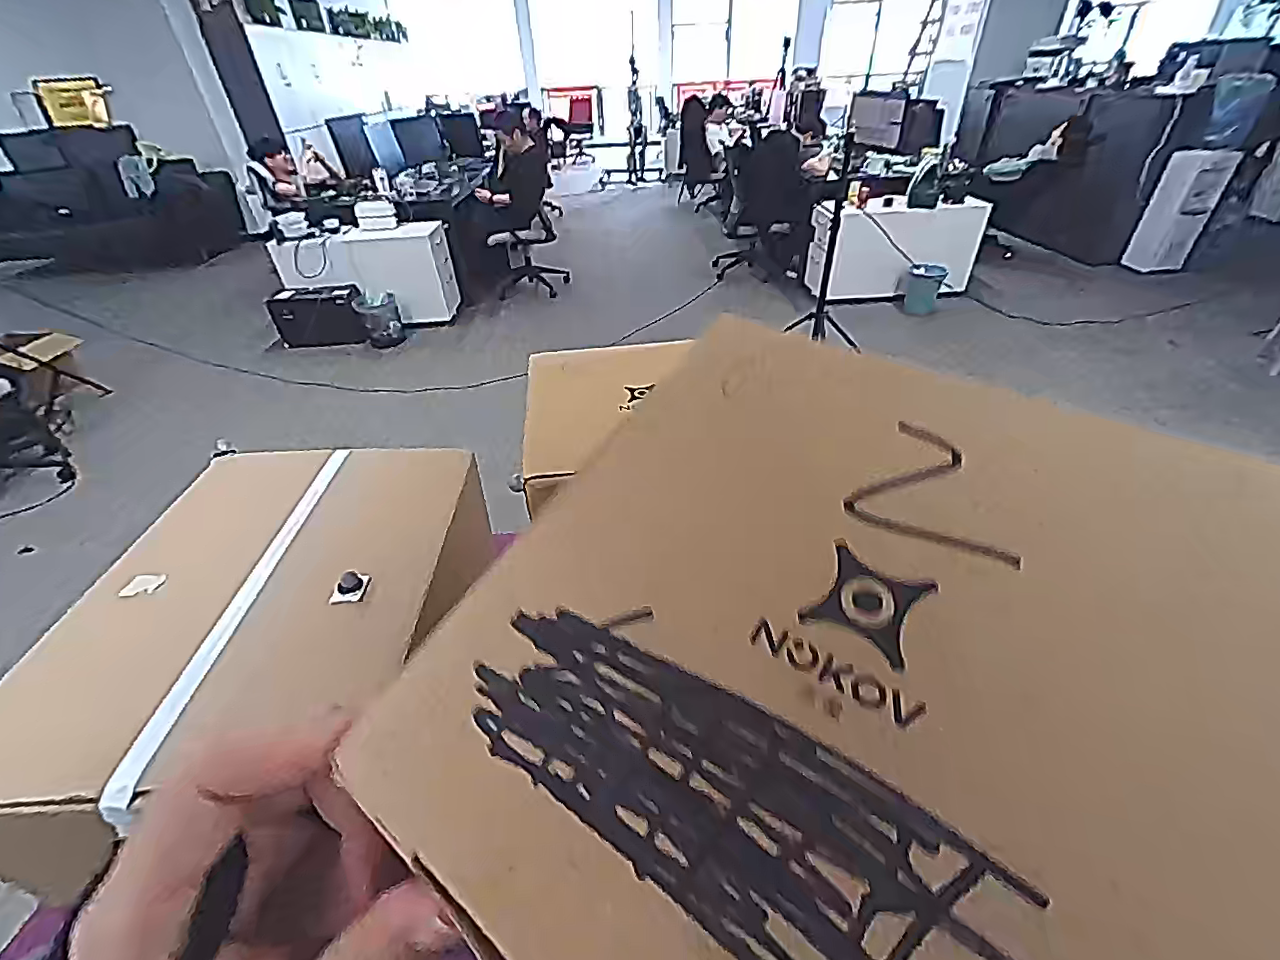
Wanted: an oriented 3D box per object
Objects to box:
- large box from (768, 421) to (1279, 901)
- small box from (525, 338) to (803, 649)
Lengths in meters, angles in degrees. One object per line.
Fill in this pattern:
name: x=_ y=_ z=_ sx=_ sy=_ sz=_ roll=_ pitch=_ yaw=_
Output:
large box: x=0.353 y=0.172 z=0.612 sx=0.320 sy=0.320 sz=0.408 roll=-3 pitch=36 yaw=-2
small box: x=0.006 y=0.004 z=0.425 sx=0.168 sy=0.176 sz=0.179 roll=-6 pitch=38 yaw=-5
